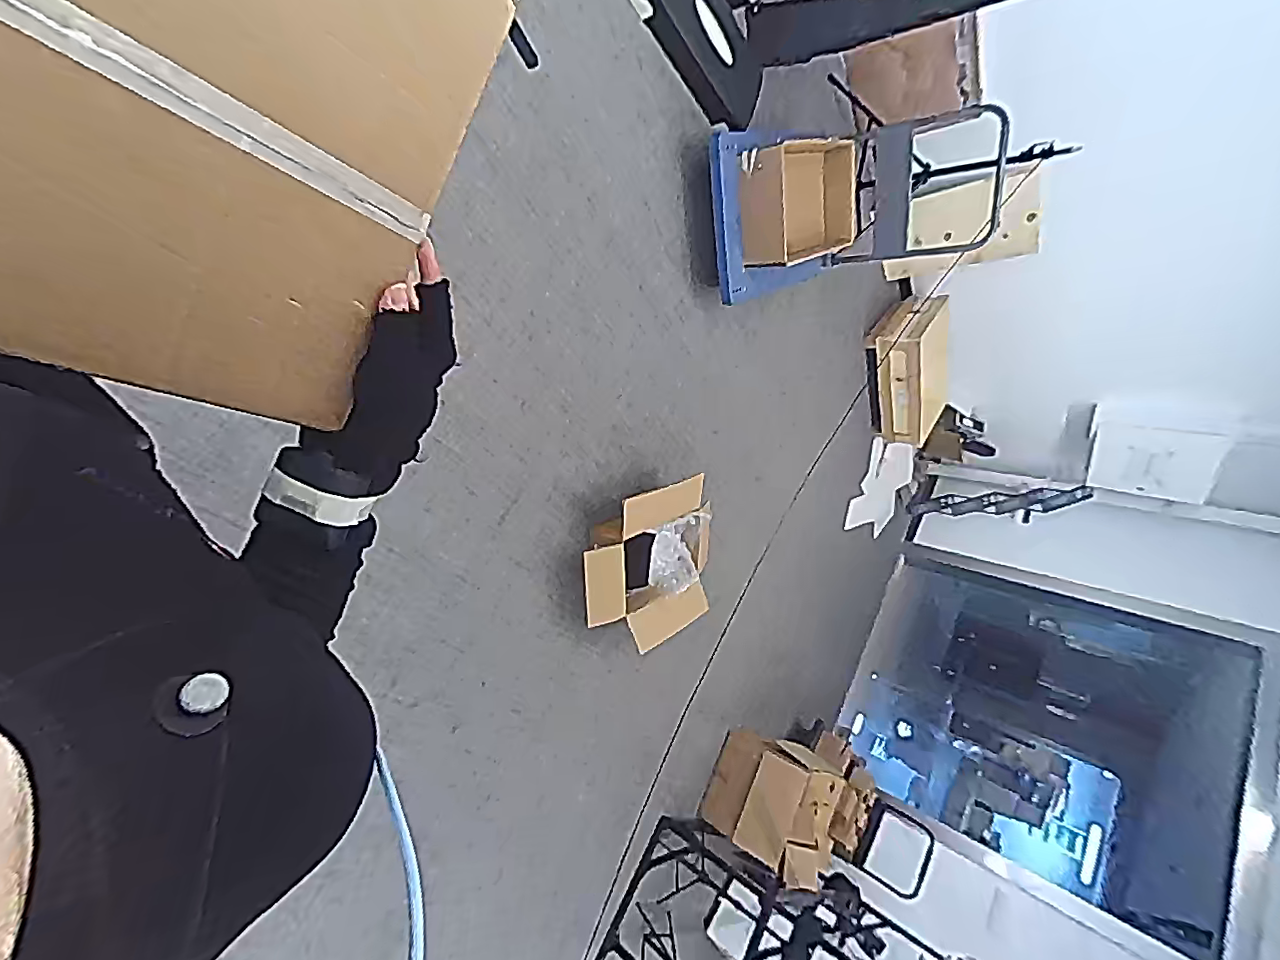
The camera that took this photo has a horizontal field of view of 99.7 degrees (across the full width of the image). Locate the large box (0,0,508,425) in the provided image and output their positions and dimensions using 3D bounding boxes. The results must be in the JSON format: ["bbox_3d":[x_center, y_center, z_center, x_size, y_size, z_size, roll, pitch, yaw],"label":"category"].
[{"bbox_3d":[-0.372,-0.275,0.326,0.408,0.320,0.320,17,106,-48],"label":"large box"}]
